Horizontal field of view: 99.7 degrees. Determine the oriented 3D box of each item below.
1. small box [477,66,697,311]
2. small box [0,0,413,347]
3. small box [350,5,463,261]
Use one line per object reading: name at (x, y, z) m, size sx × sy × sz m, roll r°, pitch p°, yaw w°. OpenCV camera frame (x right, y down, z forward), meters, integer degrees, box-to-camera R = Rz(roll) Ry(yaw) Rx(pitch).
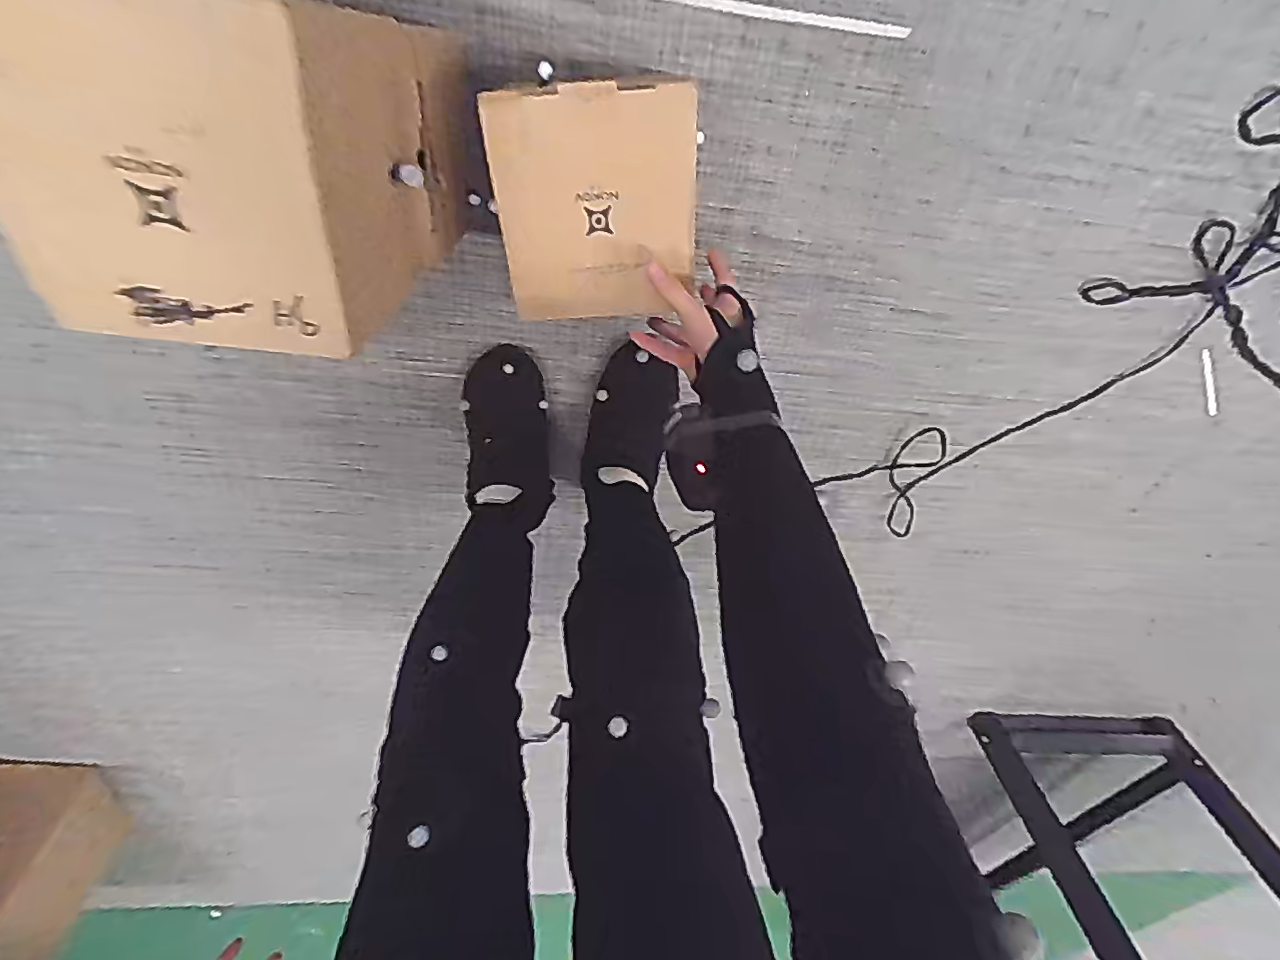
small box at (-0.042, -0.277, 0.509) m, size 0.168 × 0.176 × 0.179 m, roll -3°, pitch 128°, yaw -1°
small box at (-0.253, -0.206, 0.339) m, size 0.168 × 0.176 × 0.179 m, roll 5°, pitch 126°, yaw -8°
small box at (-0.257, -0.307, 0.468) m, size 0.179 × 0.176 × 0.168 m, roll 4°, pitch 127°, yaw -7°
